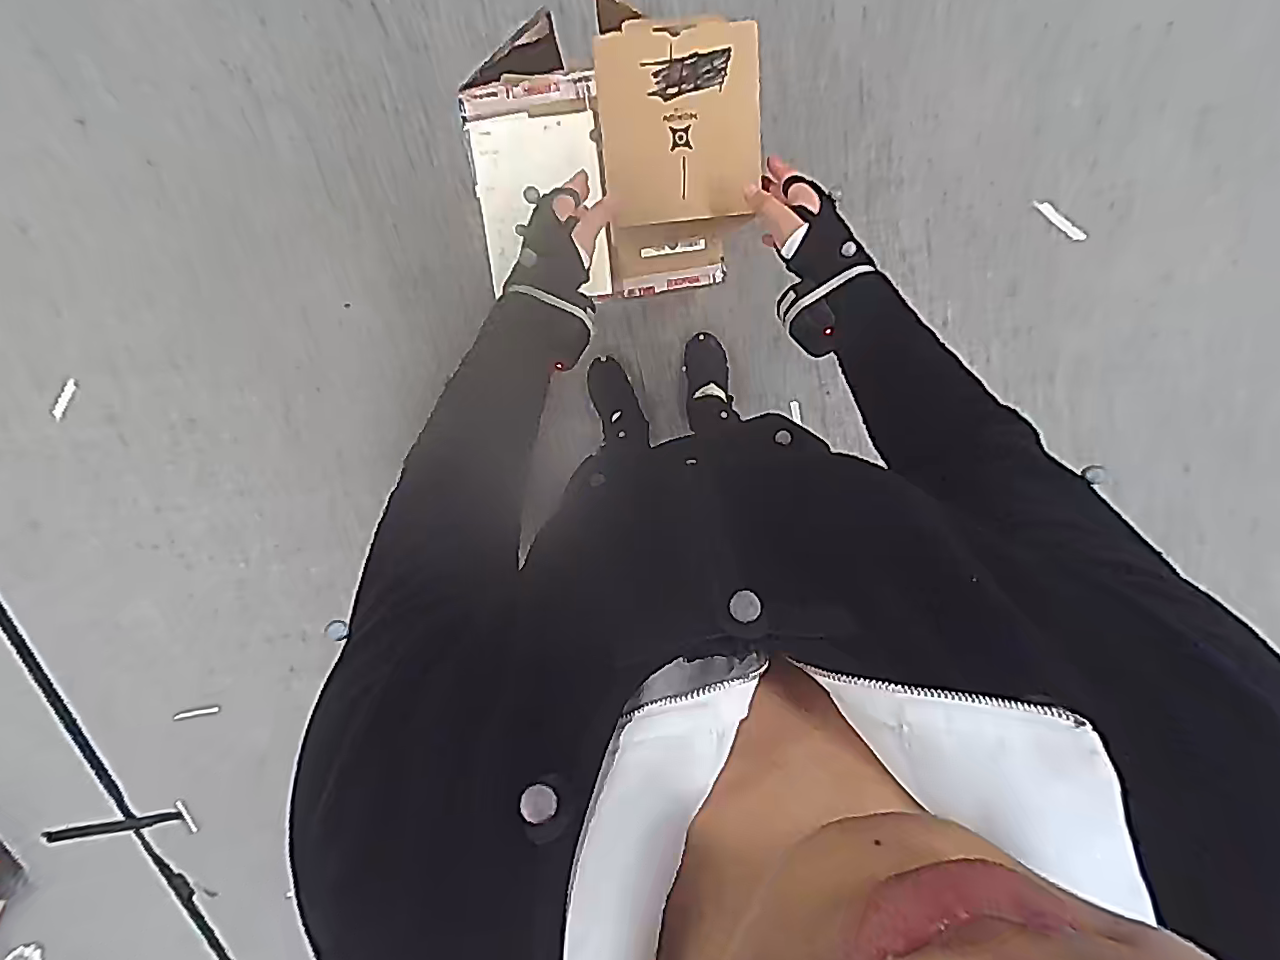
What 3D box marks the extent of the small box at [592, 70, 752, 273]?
[{"bbox_3d":[0.032,-0.353,0.650,0.168,0.176,0.179,-6,109,-1],"label":"small box"}]
